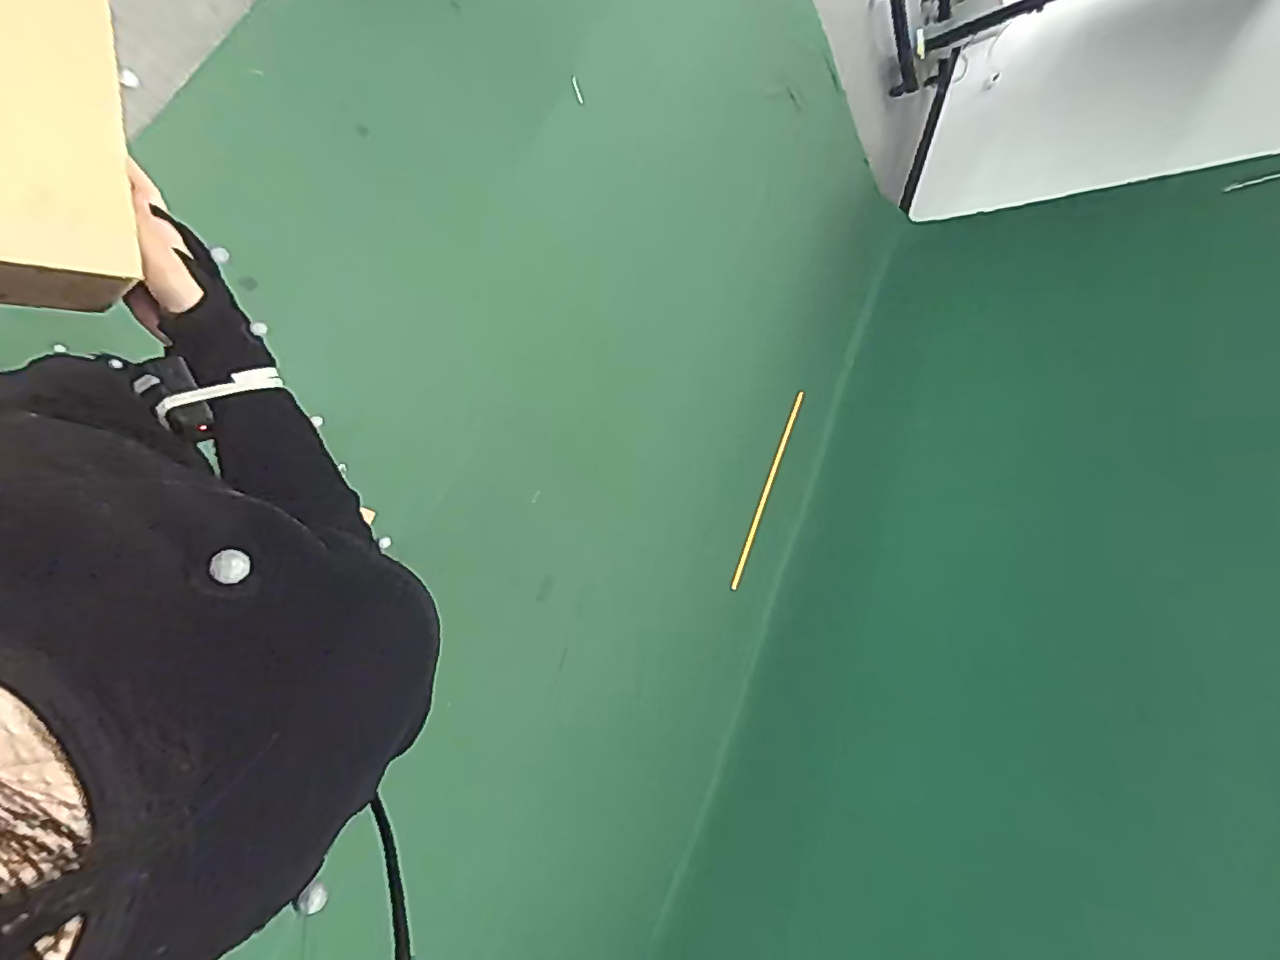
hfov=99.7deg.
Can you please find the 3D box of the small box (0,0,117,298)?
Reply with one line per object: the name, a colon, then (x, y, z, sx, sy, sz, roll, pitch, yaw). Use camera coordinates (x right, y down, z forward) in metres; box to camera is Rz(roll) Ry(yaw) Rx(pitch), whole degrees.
small box: (-0.437, -0.214, 0.315, 0.168, 0.176, 0.179, -10, 100, -51)
